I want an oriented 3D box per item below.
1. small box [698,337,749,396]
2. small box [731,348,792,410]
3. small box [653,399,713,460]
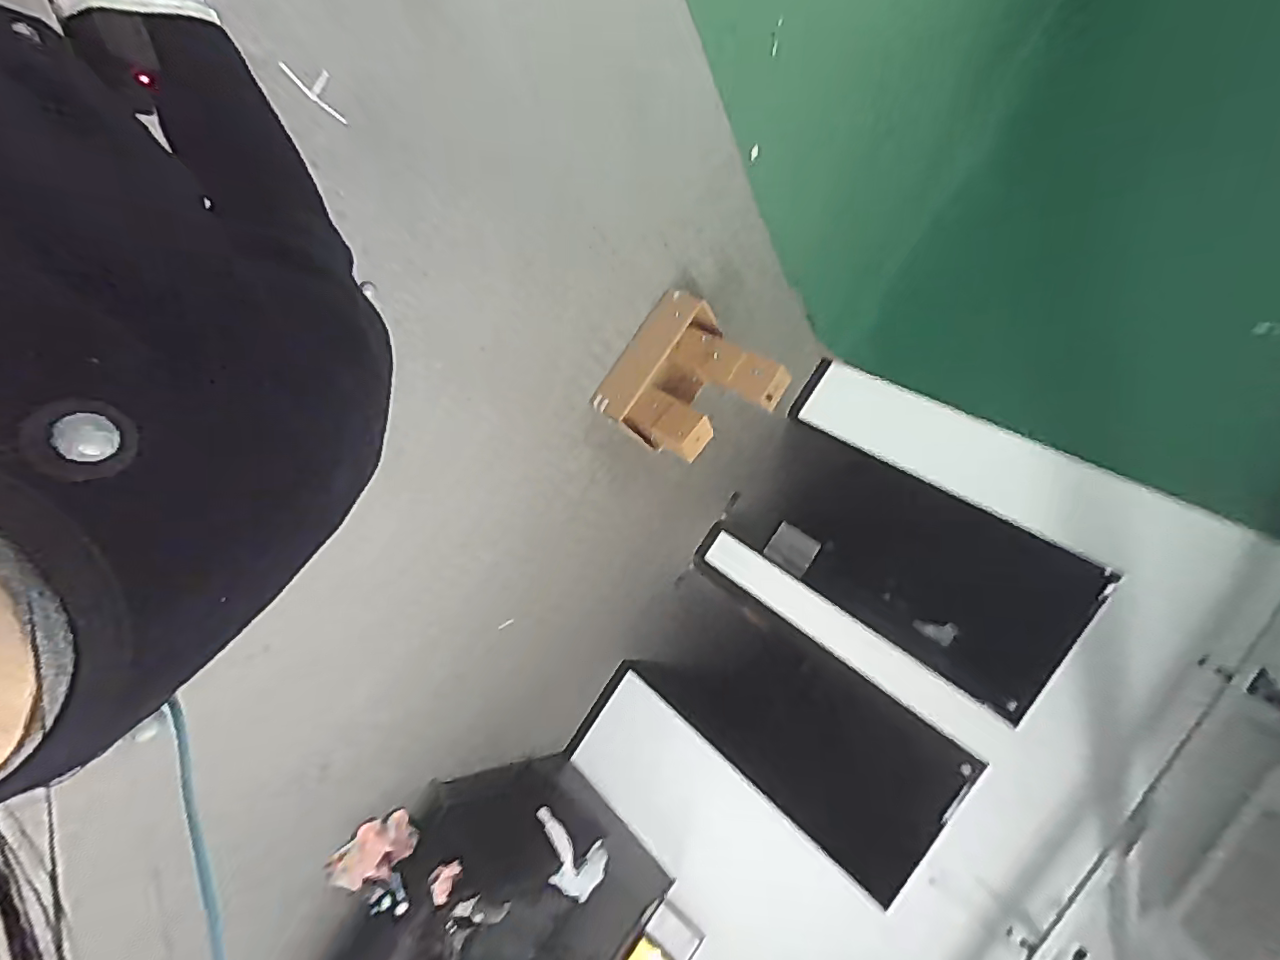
[{"bbox_3d":[0.382,-0.499,2.350,0.168,0.176,0.179,-58,148,2],"label":"small box"},{"bbox_3d":[0.503,-0.423,2.267,0.179,0.176,0.168,-60,149,5],"label":"small box"},{"bbox_3d":[0.187,-0.224,2.350,0.179,0.176,0.168,-50,147,-9],"label":"small box"}]
